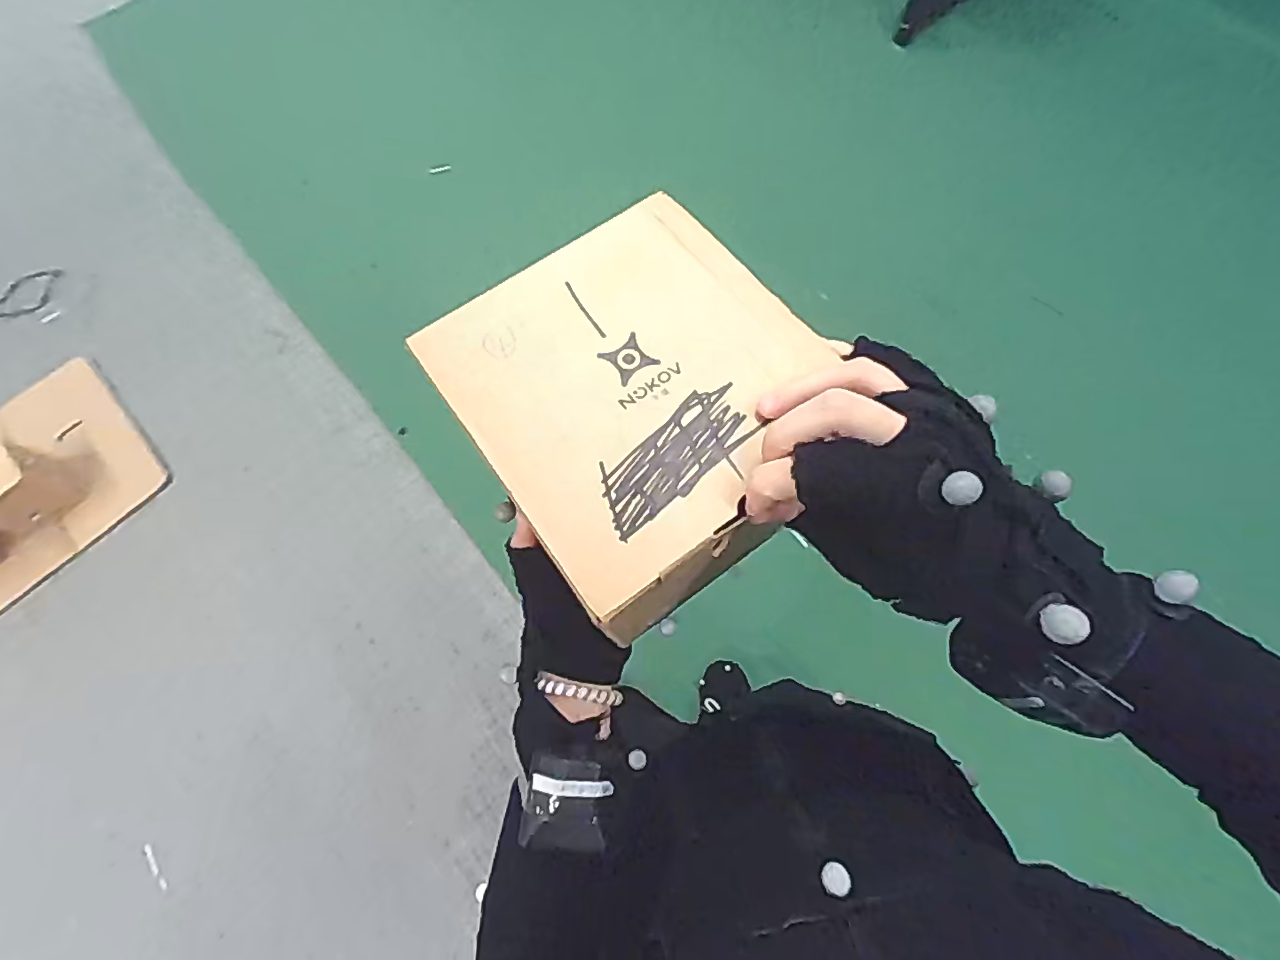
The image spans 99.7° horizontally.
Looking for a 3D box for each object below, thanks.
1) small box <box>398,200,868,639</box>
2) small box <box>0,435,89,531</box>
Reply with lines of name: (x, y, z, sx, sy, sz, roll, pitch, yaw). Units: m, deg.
small box: (-0.004, -0.019, 0.336, 0.168, 0.176, 0.179, -36, 72, -10)
small box: (-1.693, 0.015, 1.480, 0.179, 0.176, 0.168, 43, 78, 15)
